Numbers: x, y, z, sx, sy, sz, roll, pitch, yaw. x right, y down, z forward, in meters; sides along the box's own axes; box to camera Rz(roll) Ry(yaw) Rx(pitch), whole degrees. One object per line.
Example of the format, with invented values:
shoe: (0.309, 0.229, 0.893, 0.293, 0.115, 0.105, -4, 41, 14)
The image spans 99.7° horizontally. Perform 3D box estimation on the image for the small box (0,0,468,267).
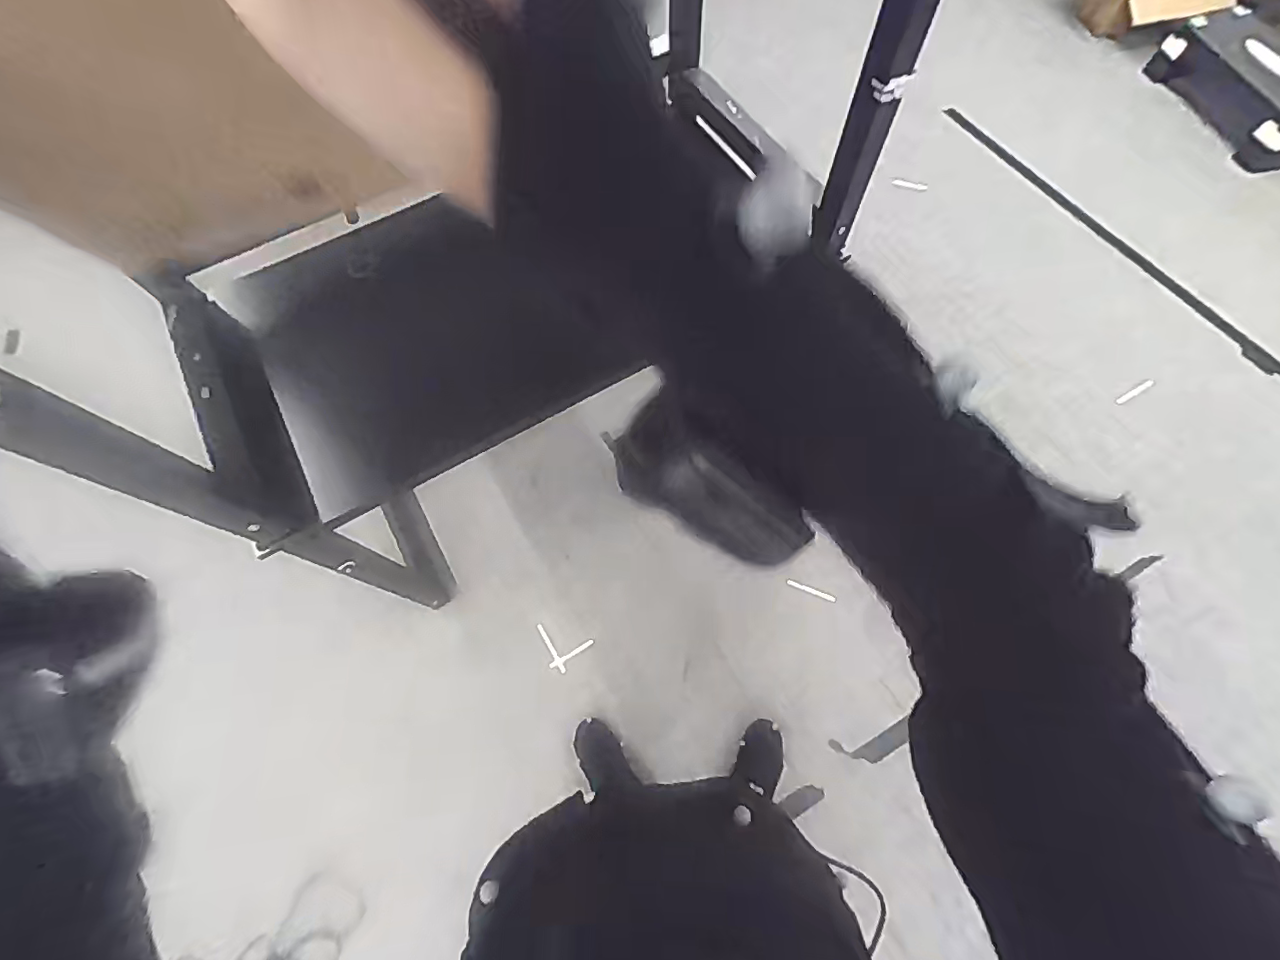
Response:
small box: (-0.185, -0.216, 0.203, 0.168, 0.176, 0.179, -16, 83, -1)
